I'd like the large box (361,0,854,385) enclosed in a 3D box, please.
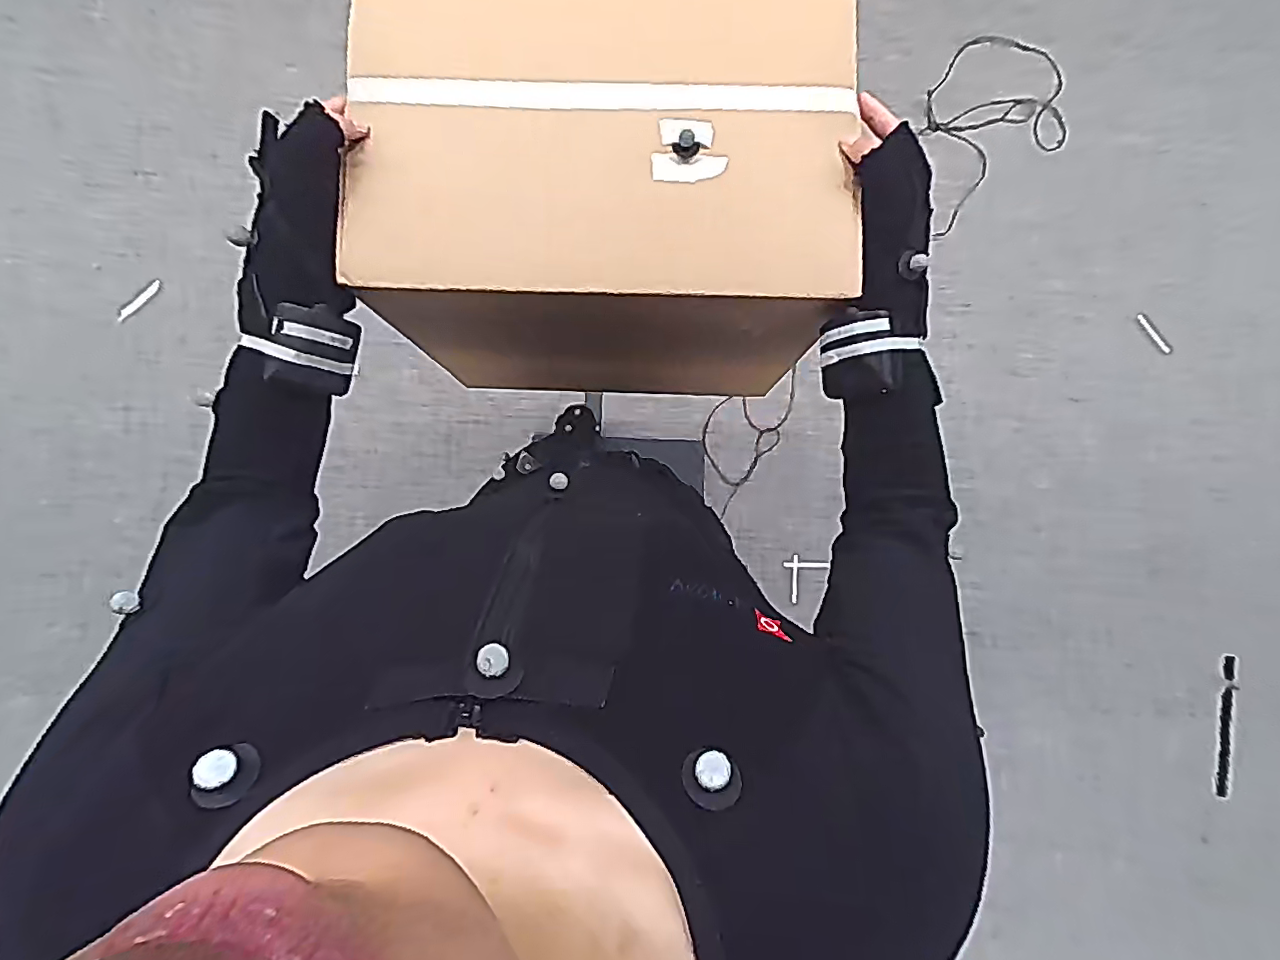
[{"bbox_3d":[-0.027,-0.295,0.594,0.408,0.320,0.320,1,85,-1],"label":"large box"}]

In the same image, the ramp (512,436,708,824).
[{"bbox_3d":[-0.067,0.367,1.454,0.509,0.206,0.991,0,89,1],"label":"ramp"}]
